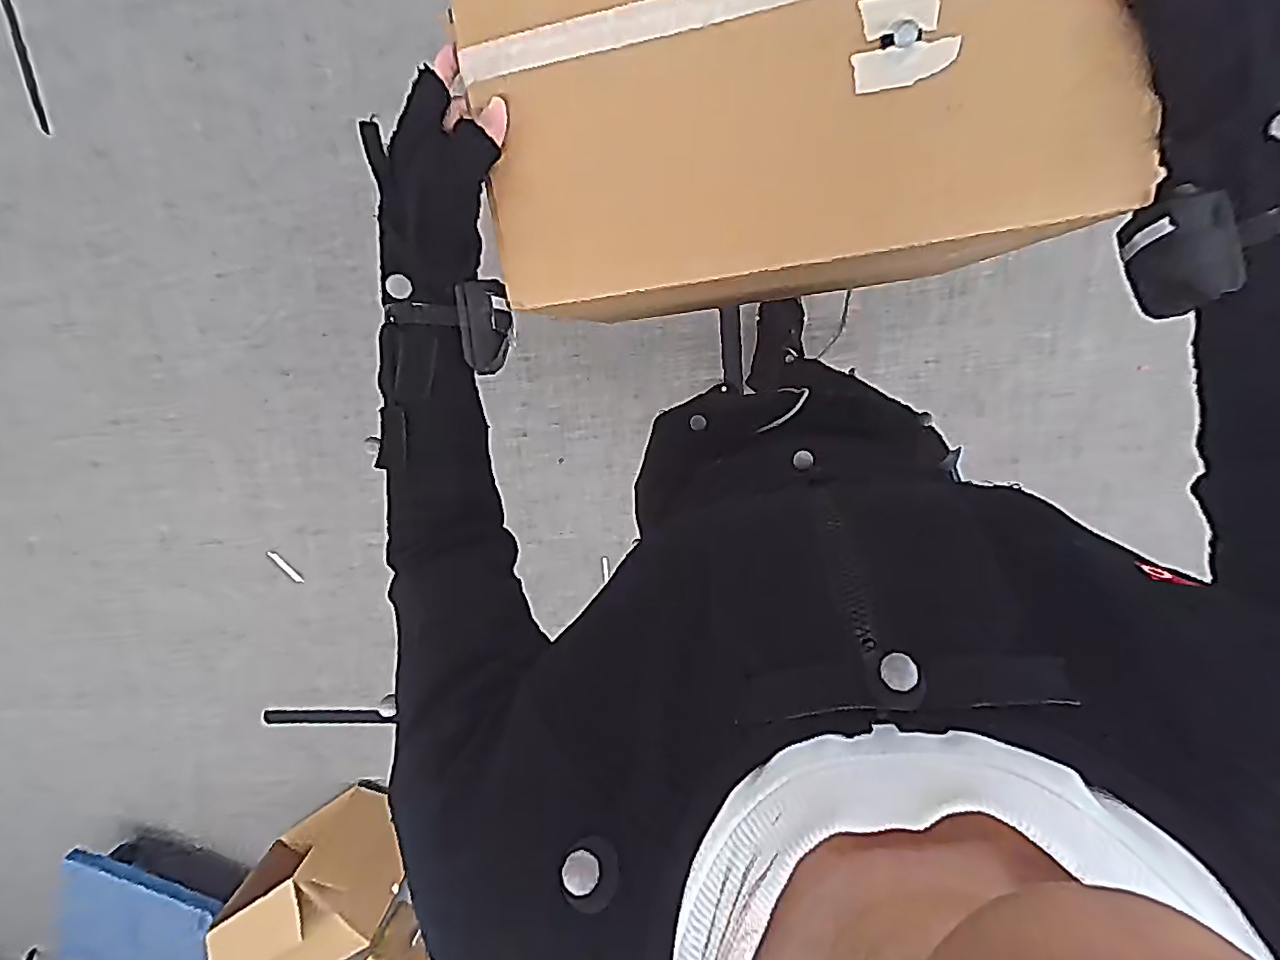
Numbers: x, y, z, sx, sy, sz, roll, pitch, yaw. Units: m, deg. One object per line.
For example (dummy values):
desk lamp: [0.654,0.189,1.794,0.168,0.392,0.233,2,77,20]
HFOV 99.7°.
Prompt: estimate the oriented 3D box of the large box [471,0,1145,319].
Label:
large box: [0.107,-0.339,0.475,0.408,0.320,0.320,-6,103,10]
